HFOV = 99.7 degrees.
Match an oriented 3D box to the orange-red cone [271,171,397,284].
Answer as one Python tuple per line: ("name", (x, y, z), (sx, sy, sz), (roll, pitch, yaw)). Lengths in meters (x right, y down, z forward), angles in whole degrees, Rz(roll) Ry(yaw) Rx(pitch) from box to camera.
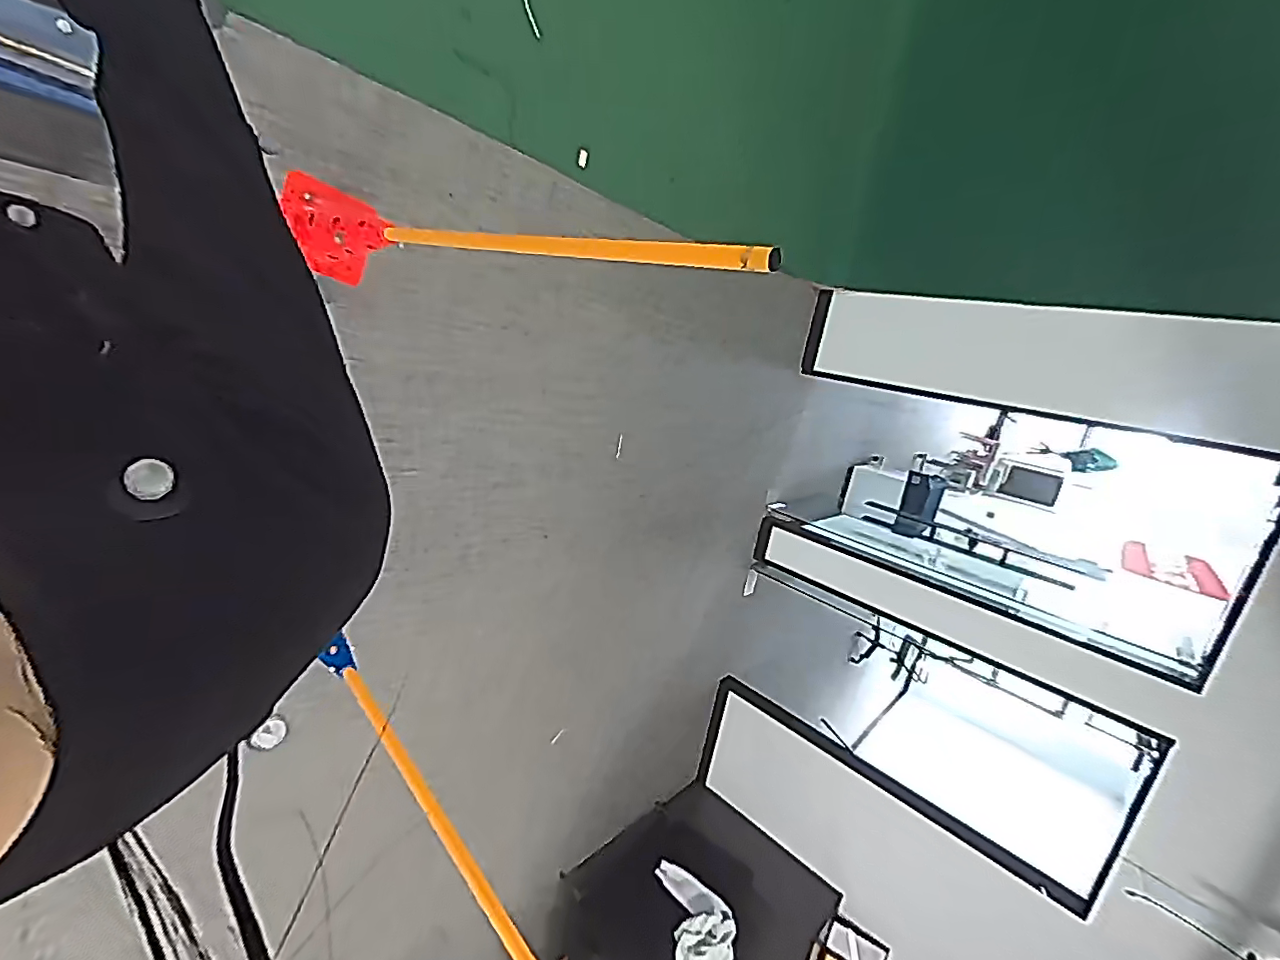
("orange-red cone", (-0.620, -0.539, 1.171), (0.198, 0.360, 0.199), (12, 98, -50))
